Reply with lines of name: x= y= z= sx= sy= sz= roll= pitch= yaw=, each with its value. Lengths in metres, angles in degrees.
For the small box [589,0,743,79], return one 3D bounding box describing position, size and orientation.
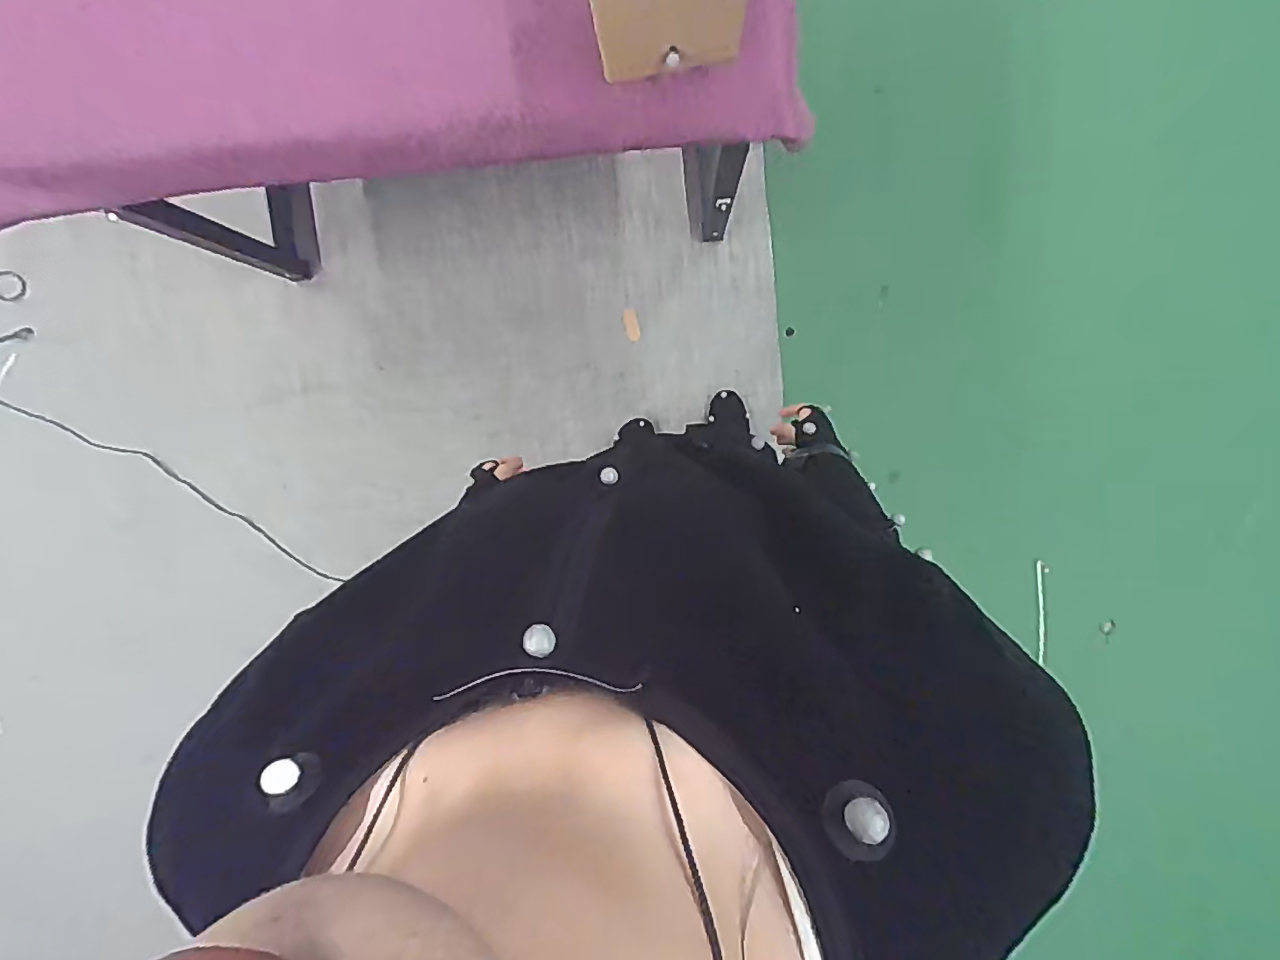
small box: x=0.023 y=-0.607 z=0.620 sx=0.179 sy=0.176 sz=0.168 roll=-9 pitch=96 yaw=4
